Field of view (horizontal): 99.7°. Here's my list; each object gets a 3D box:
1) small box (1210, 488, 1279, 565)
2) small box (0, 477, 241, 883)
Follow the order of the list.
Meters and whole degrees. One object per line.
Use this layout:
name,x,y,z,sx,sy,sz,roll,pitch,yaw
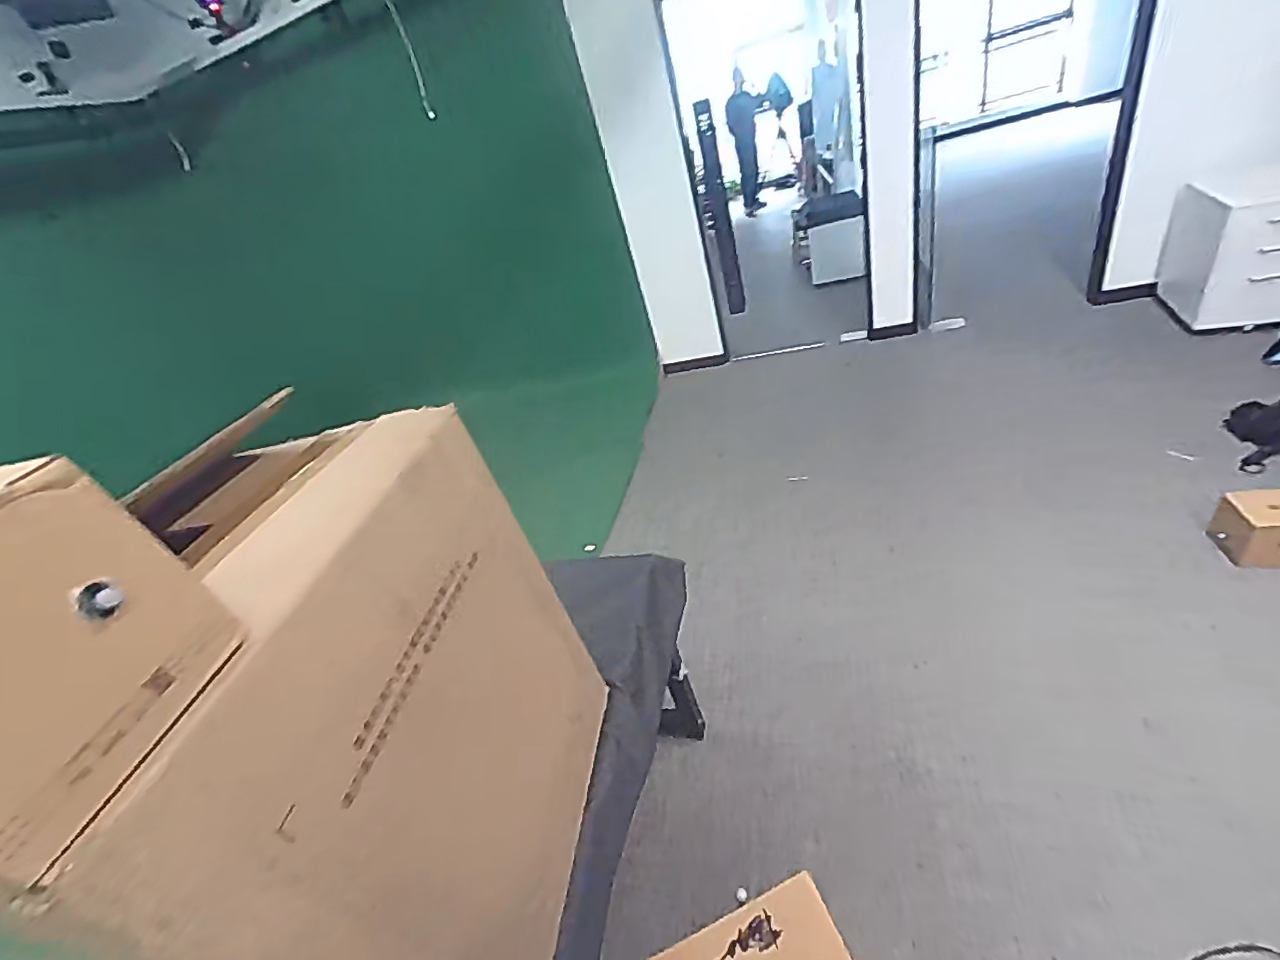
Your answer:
small box,1.902,0.142,1.639,0.179,0.176,0.168,-6,35,21
small box,-0.413,0.123,0.337,0.179,0.176,0.168,-9,34,17
